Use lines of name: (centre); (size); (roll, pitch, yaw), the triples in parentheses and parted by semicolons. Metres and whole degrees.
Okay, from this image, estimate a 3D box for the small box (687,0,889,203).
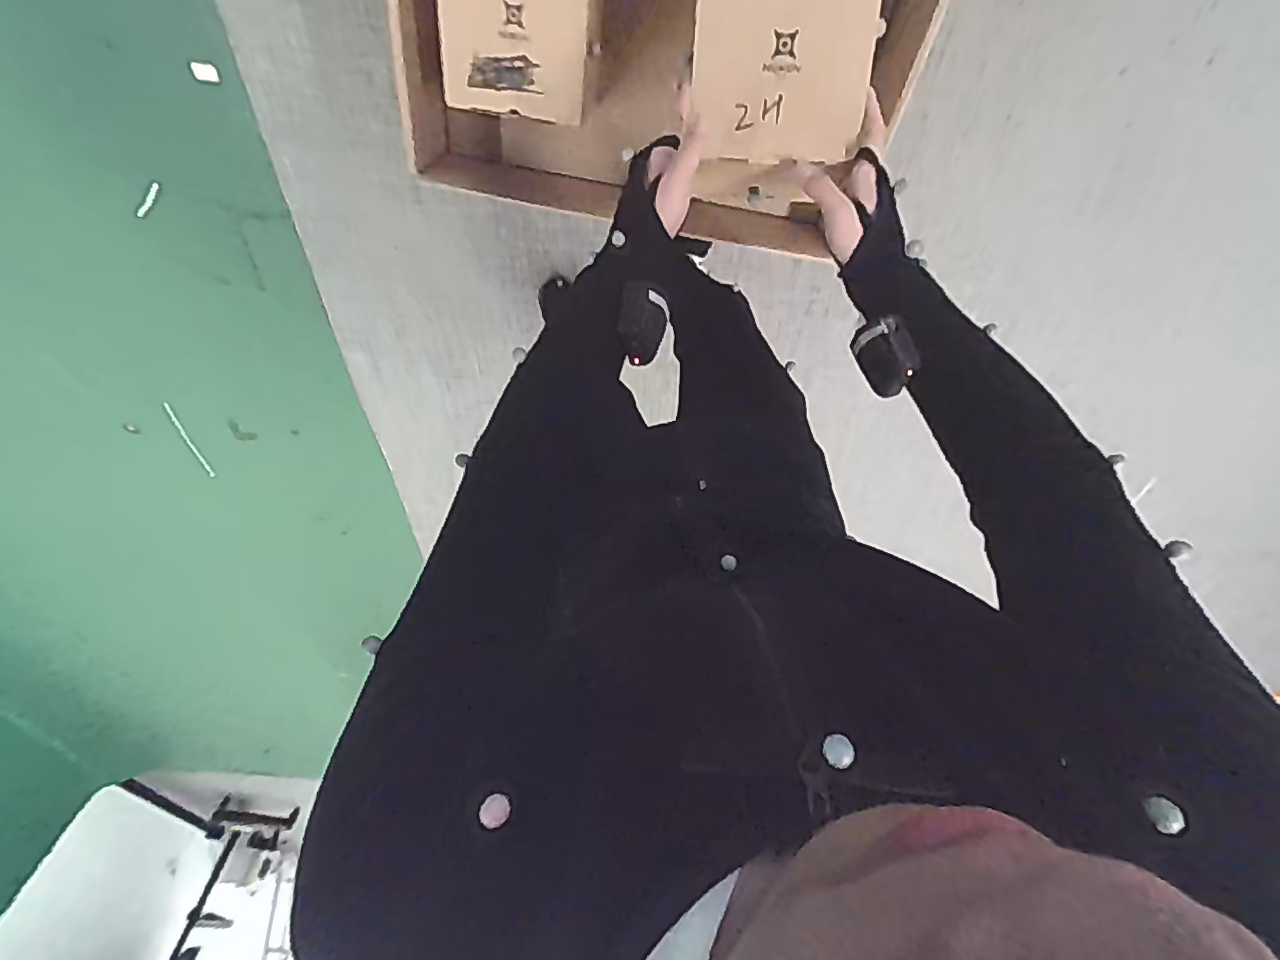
small box: (0.138, -0.407, 0.563); (0.168, 0.176, 0.179); (4, 107, 3)
